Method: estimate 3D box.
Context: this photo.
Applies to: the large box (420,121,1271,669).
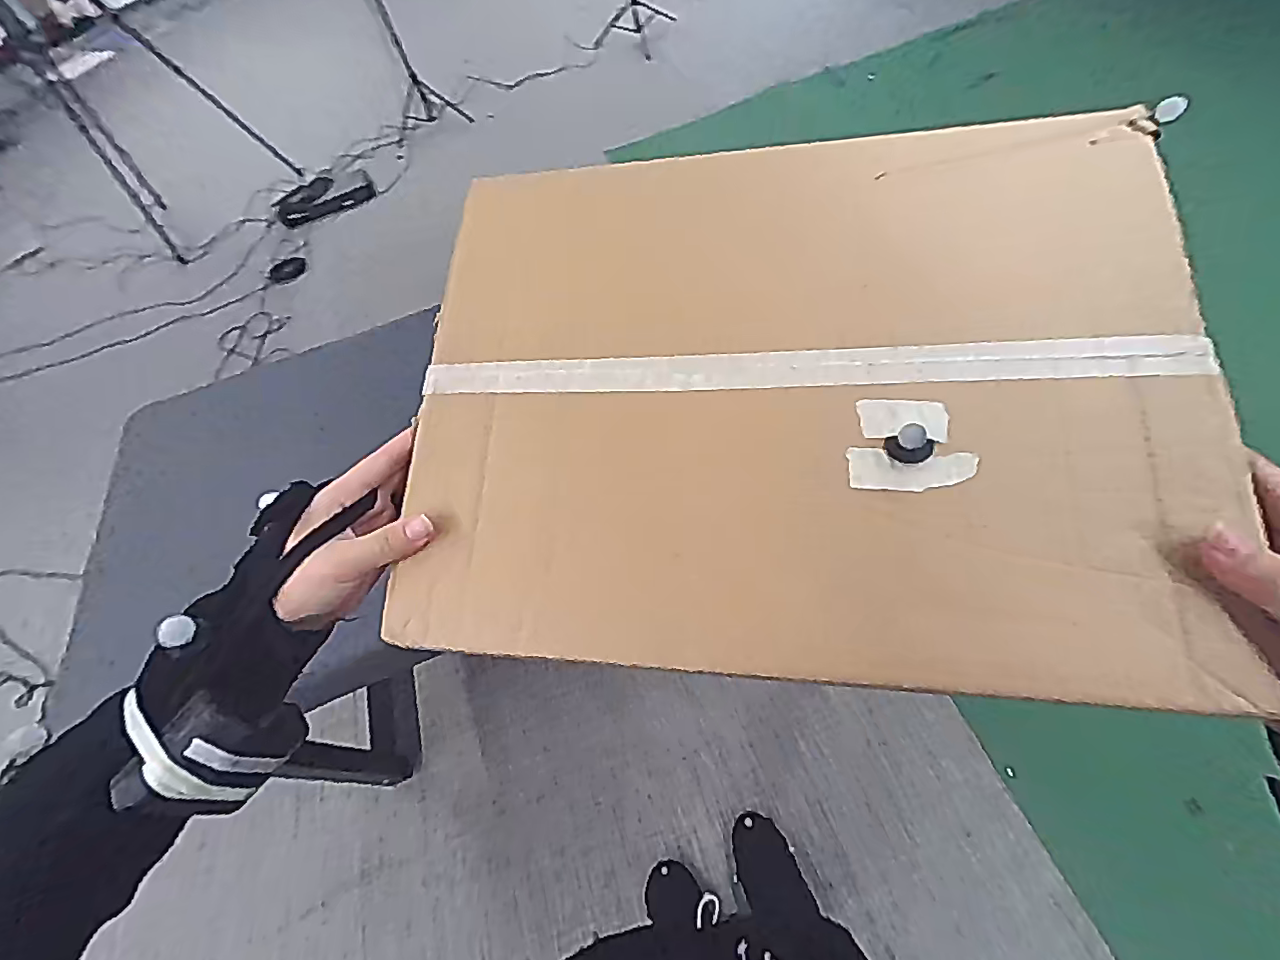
[{"bbox_3d":[0.105,-0.020,0.446,0.408,0.320,0.320,1,73,11],"label":"large box"}]
